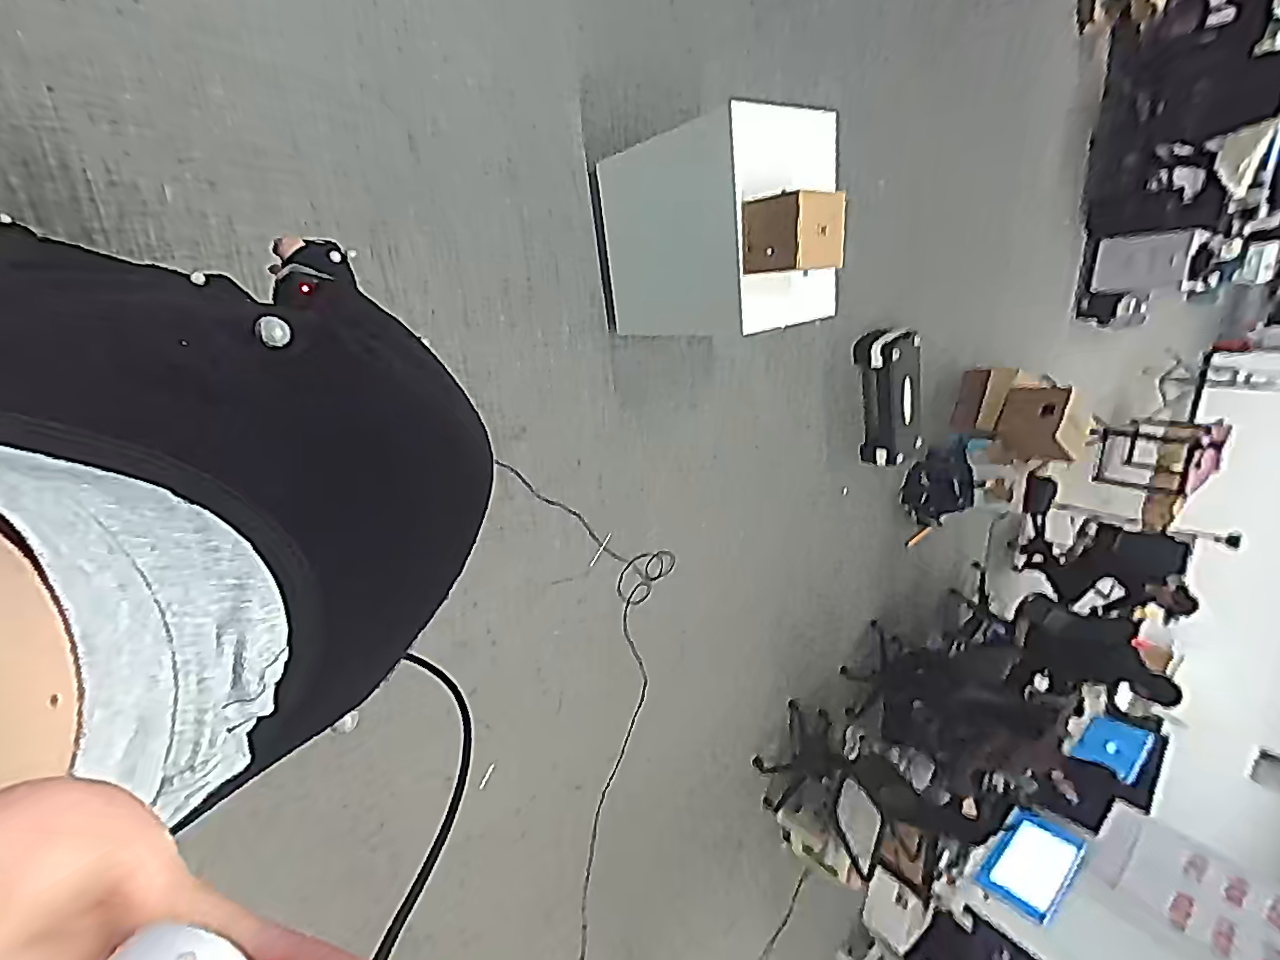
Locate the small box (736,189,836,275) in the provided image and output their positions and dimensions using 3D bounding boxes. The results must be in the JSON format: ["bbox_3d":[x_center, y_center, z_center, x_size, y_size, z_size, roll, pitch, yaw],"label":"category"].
[{"bbox_3d":[0.343,-0.585,1.290,0.179,0.176,0.168,-20,115,-36],"label":"small box"}]
